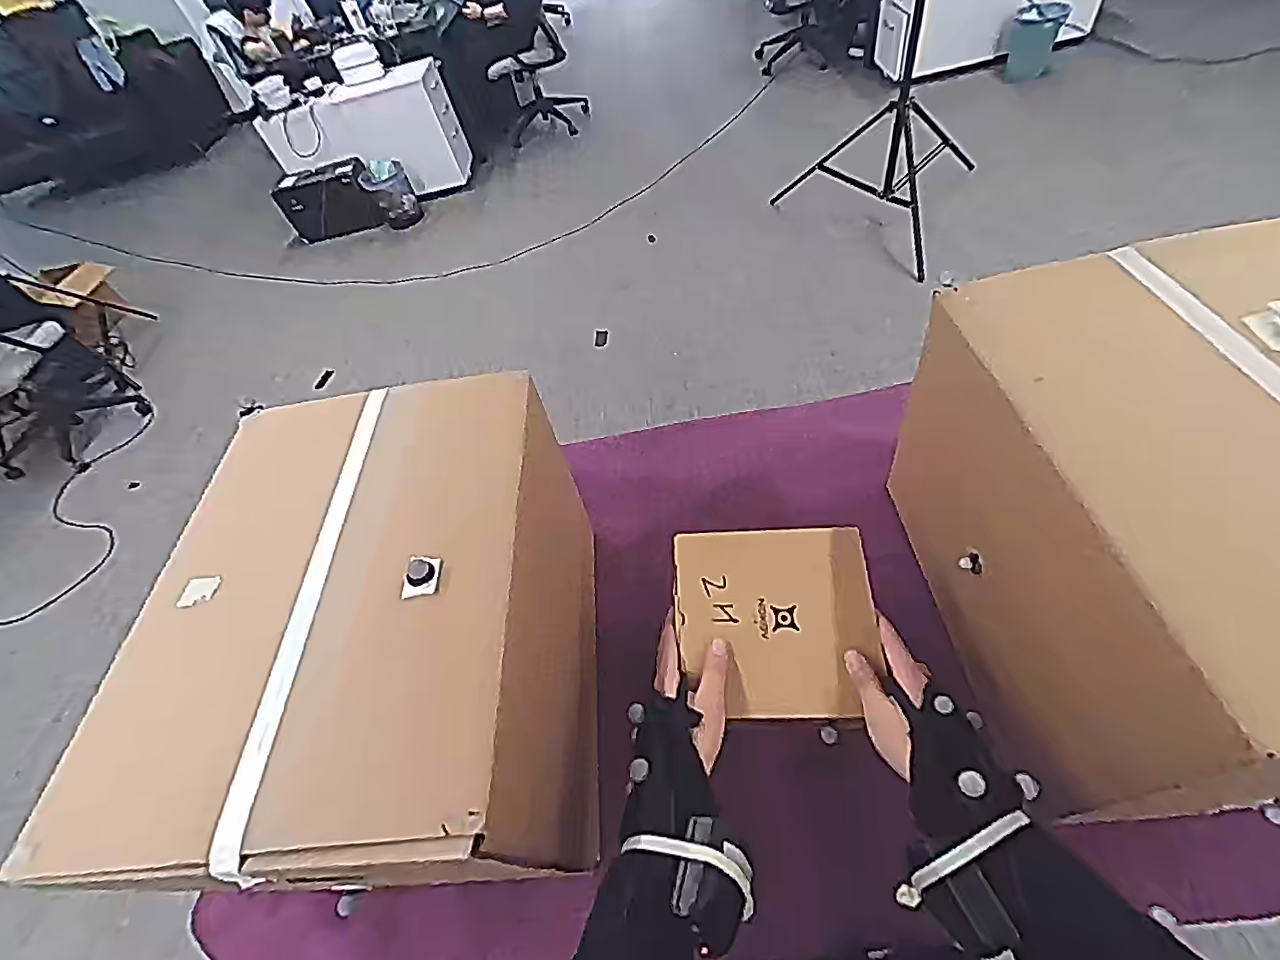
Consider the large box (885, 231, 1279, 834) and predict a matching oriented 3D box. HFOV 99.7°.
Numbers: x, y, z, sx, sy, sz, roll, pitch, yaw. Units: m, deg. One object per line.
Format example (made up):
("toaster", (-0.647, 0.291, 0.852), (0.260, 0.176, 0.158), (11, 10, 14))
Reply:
("large box", (0.462, 0.050, 0.485), (0.320, 0.320, 0.408), (-10, 50, 6))
